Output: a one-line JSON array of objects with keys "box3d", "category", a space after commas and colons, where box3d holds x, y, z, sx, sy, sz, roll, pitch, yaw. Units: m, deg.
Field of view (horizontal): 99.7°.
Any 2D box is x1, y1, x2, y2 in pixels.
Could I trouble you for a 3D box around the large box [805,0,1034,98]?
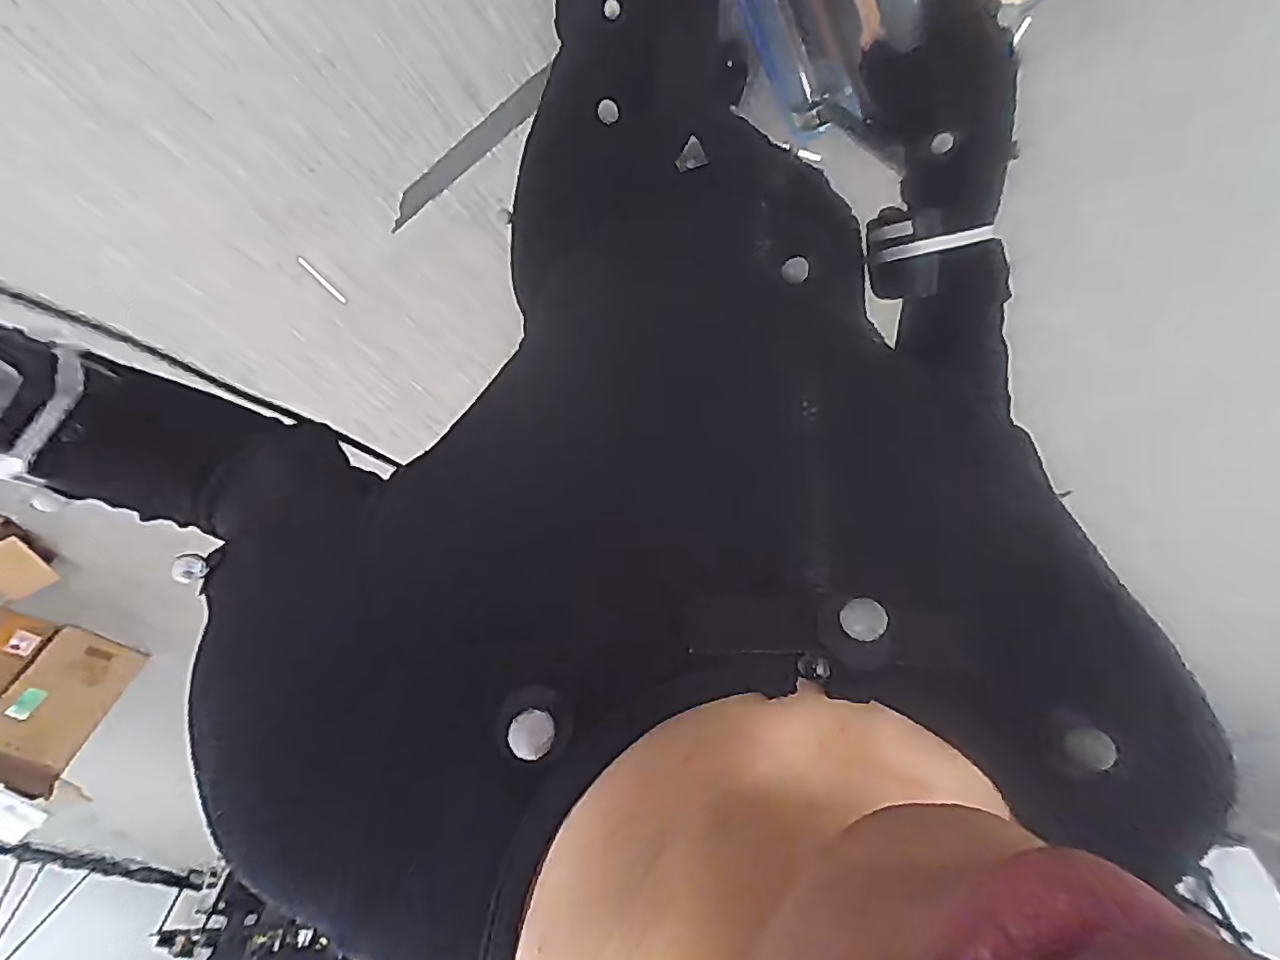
[{"box3d": [0.328, -0.774, 0.634, 0.320, 0.320, 0.408, -22, 130, 25], "category": "large box"}]
